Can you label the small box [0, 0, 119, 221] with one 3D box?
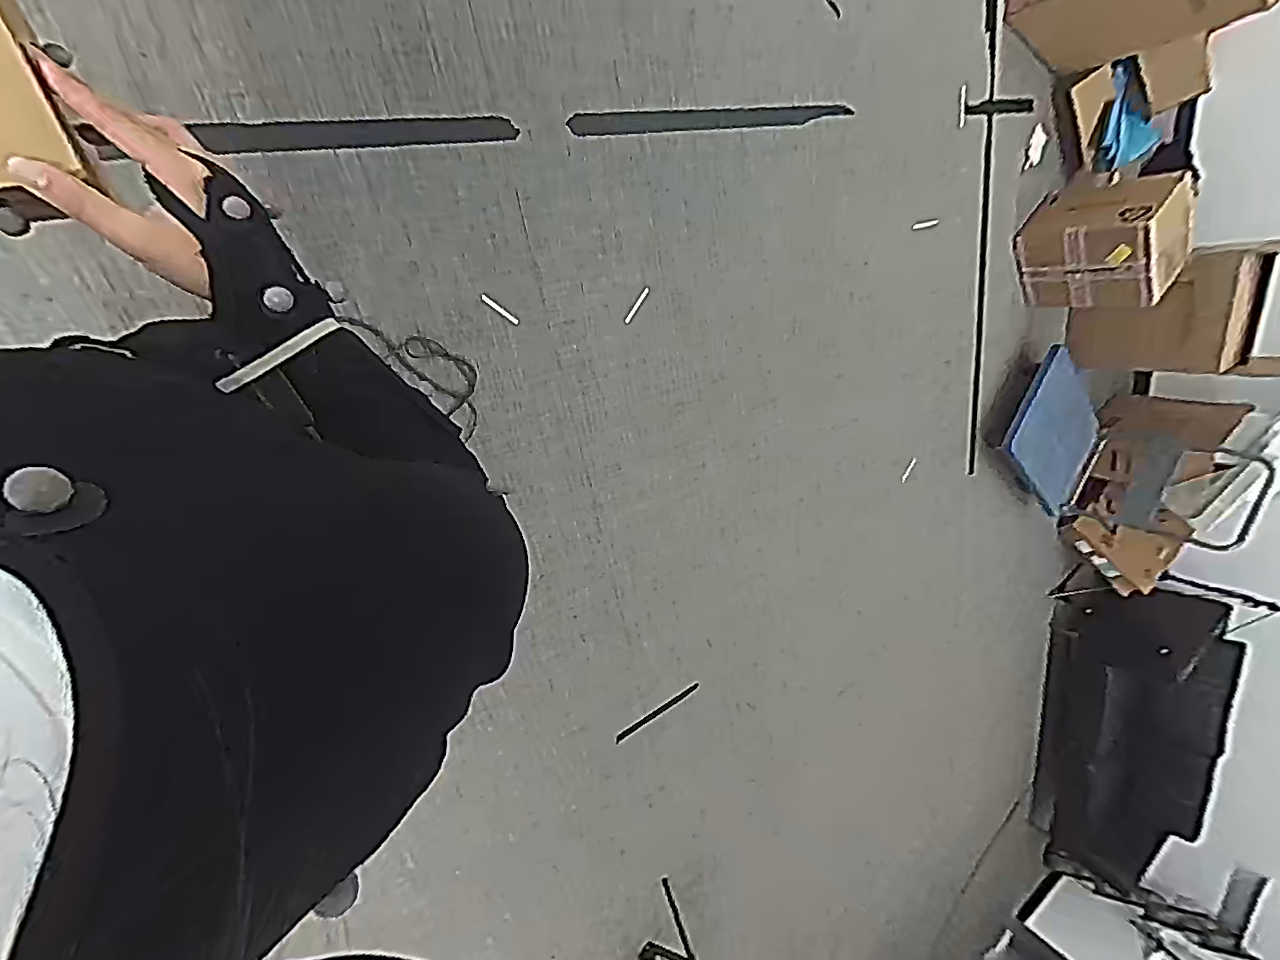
[{"bbox_3d":[-0.411,-0.227,0.271,0.179,0.176,0.168,-25,121,-30],"label":"small box"}]
